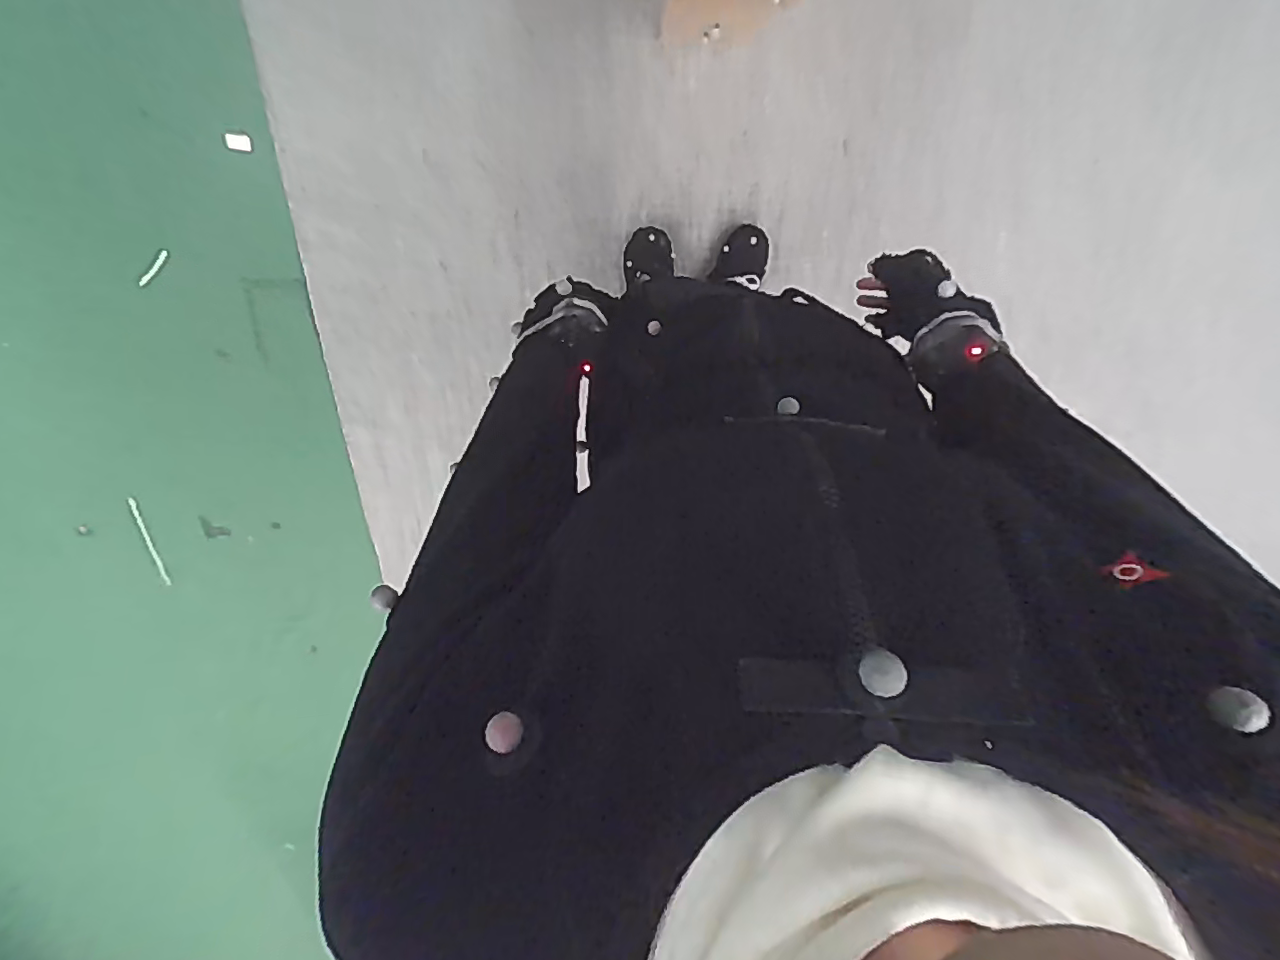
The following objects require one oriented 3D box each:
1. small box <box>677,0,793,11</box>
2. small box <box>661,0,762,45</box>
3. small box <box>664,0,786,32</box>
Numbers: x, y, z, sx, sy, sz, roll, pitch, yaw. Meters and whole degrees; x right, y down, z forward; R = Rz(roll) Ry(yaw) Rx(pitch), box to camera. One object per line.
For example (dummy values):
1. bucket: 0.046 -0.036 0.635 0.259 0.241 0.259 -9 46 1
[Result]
1. small box: 0.137 -0.717 0.676 0.179 0.176 0.168 1 118 1
2. small box: 0.129 -0.889 0.953 0.179 0.176 0.168 2 119 1
3. small box: 0.128 -0.801 0.819 0.179 0.176 0.168 0 121 1
